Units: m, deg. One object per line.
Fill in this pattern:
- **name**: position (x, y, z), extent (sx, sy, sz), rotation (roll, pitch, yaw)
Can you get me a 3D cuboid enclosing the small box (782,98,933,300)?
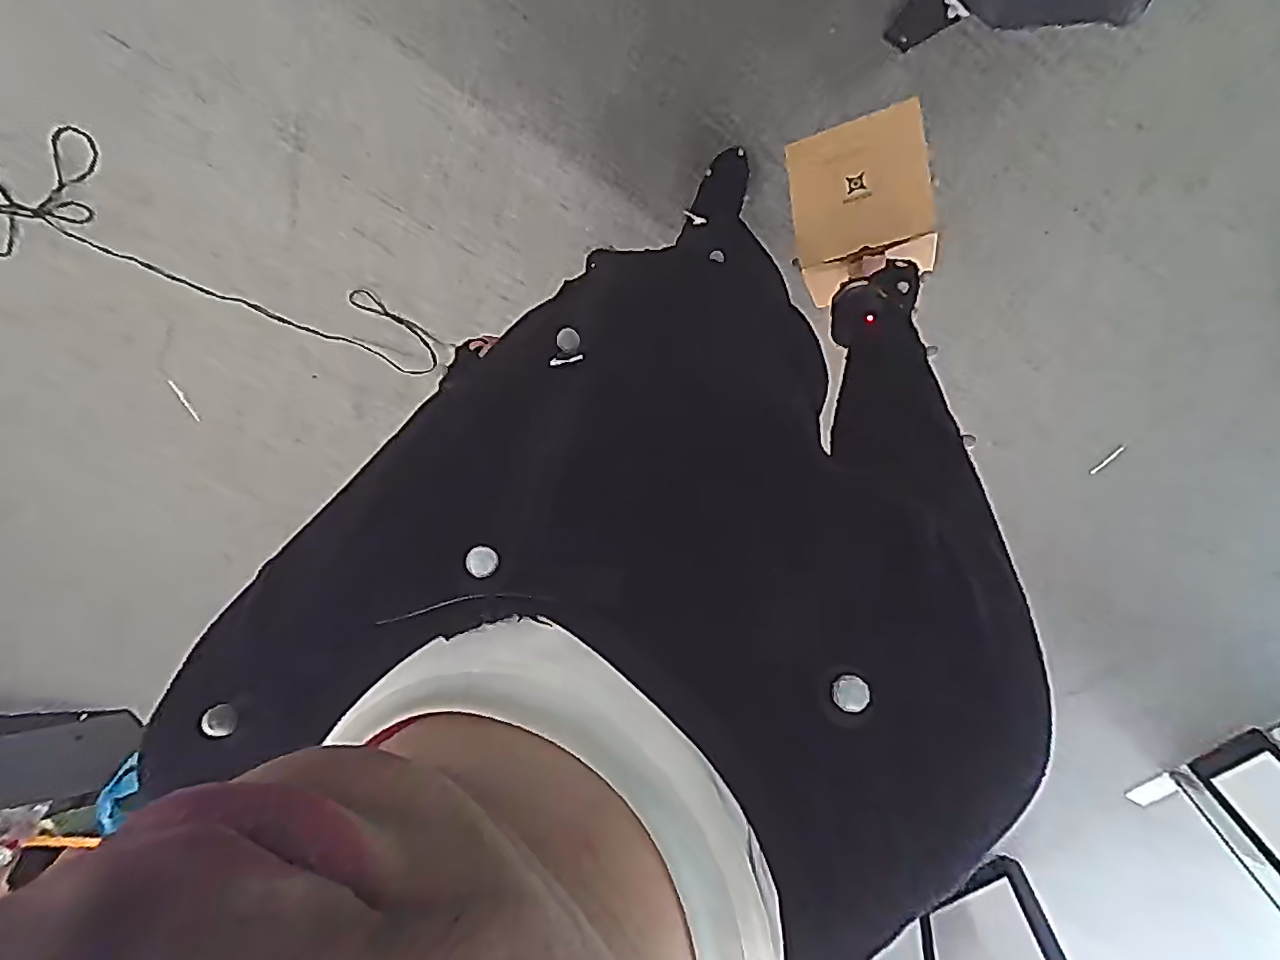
- **small box**: position (0.304, -0.367, 0.752), extent (0.168, 0.176, 0.179), rotation (-8, 86, 25)
